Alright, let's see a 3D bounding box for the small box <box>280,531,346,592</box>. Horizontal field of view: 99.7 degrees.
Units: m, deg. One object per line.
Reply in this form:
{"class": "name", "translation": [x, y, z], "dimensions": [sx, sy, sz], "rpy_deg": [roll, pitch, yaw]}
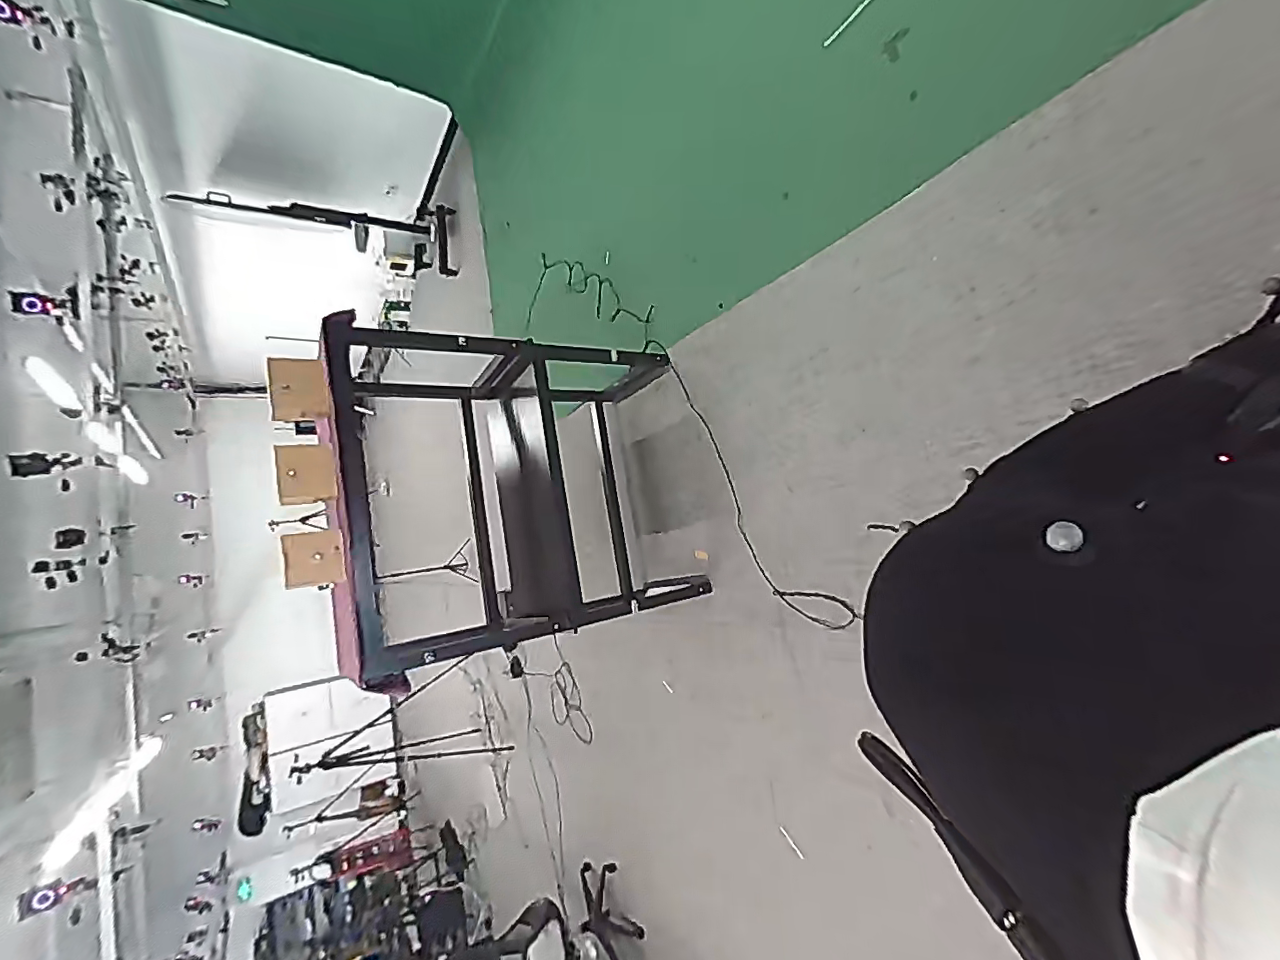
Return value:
{"class": "small box", "translation": [-1.051, 0.263, 1.741], "dimensions": [0.179, 0.176, 0.168], "rpy_deg": [-21, 75, 54]}

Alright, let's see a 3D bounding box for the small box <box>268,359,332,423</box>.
{"class": "small box", "translation": [-1.140, -0.296, 1.812], "dimensions": [0.168, 0.176, 0.179], "rpy_deg": [-13, 83, 53]}

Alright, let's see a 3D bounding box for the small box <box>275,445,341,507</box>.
{"class": "small box", "translation": [-1.095, -0.014, 1.780], "dimensions": [0.168, 0.176, 0.179], "rpy_deg": [-20, 78, 55]}
